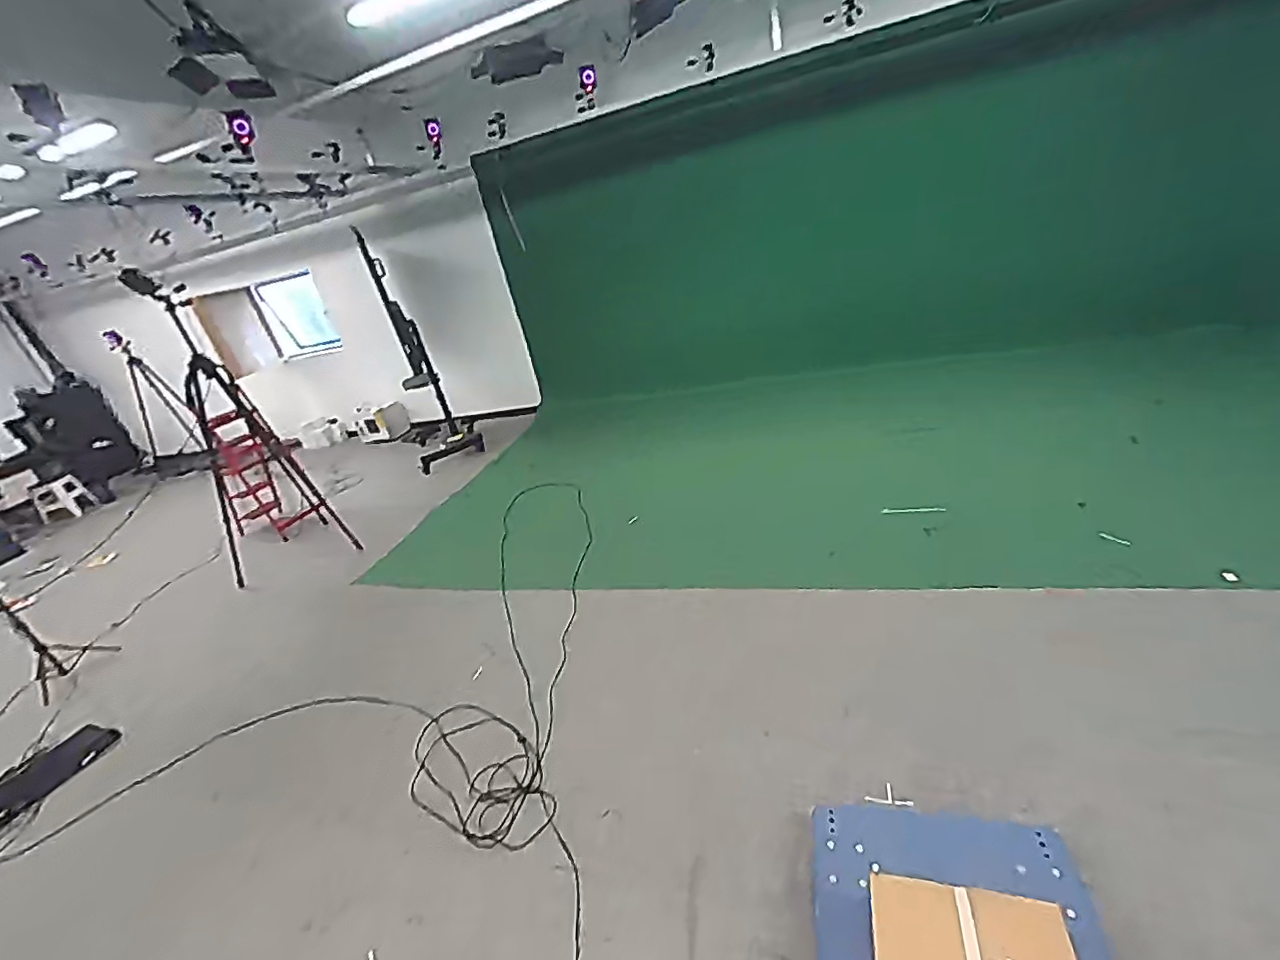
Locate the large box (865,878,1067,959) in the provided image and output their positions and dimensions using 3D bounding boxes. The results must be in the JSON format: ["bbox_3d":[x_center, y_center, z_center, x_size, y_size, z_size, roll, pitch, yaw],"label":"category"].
[{"bbox_3d":[0.567,0.997,0.908,0.320,0.320,0.408,-3,26,20],"label":"large box"}]
